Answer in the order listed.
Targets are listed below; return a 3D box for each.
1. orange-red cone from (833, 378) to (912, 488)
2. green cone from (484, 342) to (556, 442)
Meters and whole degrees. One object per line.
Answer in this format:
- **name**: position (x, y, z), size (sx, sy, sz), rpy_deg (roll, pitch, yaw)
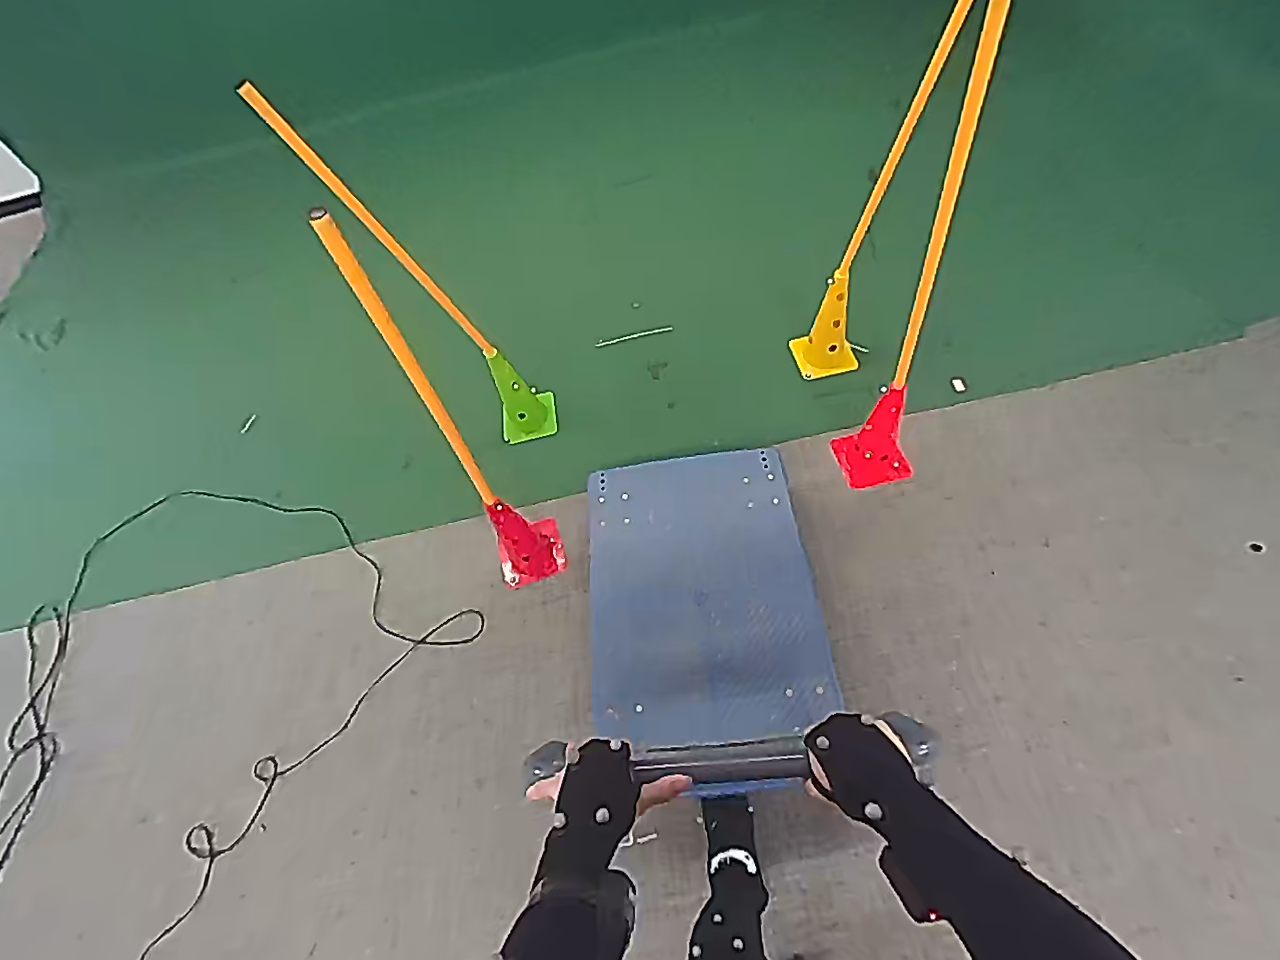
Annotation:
- **orange-red cone**: position (0.705, -0.161, 1.559), size (0.198, 0.360, 0.199), rpy_deg (-12, 57, 1)
- **green cone**: position (-0.438, -0.324, 1.846), size (0.200, 0.368, 0.202), rpy_deg (-13, 57, 2)
